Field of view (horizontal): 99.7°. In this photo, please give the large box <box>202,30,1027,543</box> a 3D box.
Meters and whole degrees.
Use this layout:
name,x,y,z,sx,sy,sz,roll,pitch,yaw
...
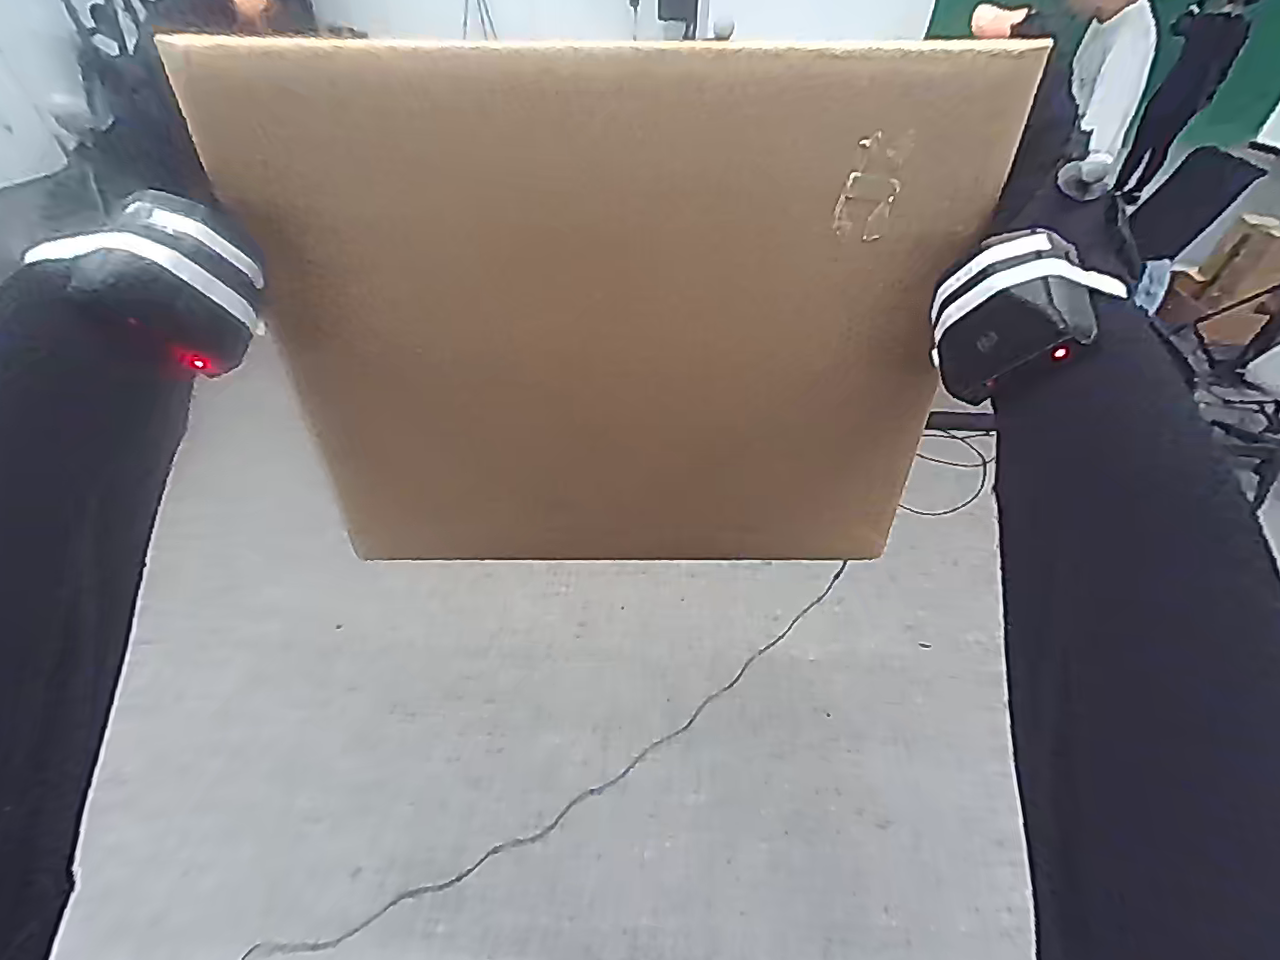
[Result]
name,x,y,z,sx,sy,sz,roll,pitch,yaw
large box,-0.014,-0.156,0.460,0.408,0.320,0.320,1,34,-1
